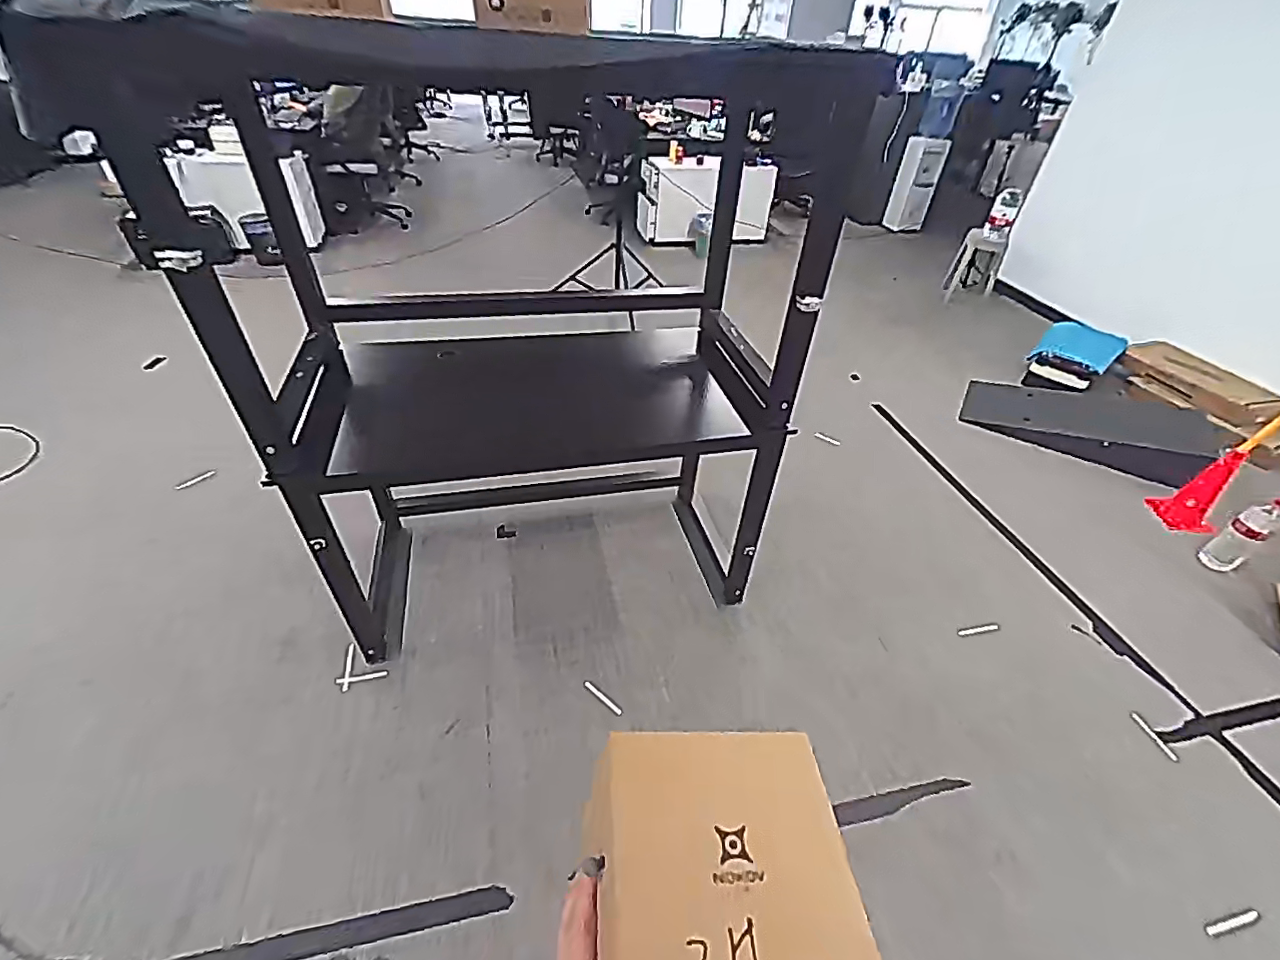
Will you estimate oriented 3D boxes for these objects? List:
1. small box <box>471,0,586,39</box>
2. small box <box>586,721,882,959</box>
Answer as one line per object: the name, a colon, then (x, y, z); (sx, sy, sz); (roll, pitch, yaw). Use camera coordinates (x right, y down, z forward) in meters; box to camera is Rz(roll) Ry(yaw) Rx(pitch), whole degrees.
small box: (-0.173, -0.770, 0.807); (0.168, 0.176, 0.179); (-6, 39, -12)
small box: (0.049, 0.310, 0.411); (0.168, 0.176, 0.179); (5, 38, -9)
